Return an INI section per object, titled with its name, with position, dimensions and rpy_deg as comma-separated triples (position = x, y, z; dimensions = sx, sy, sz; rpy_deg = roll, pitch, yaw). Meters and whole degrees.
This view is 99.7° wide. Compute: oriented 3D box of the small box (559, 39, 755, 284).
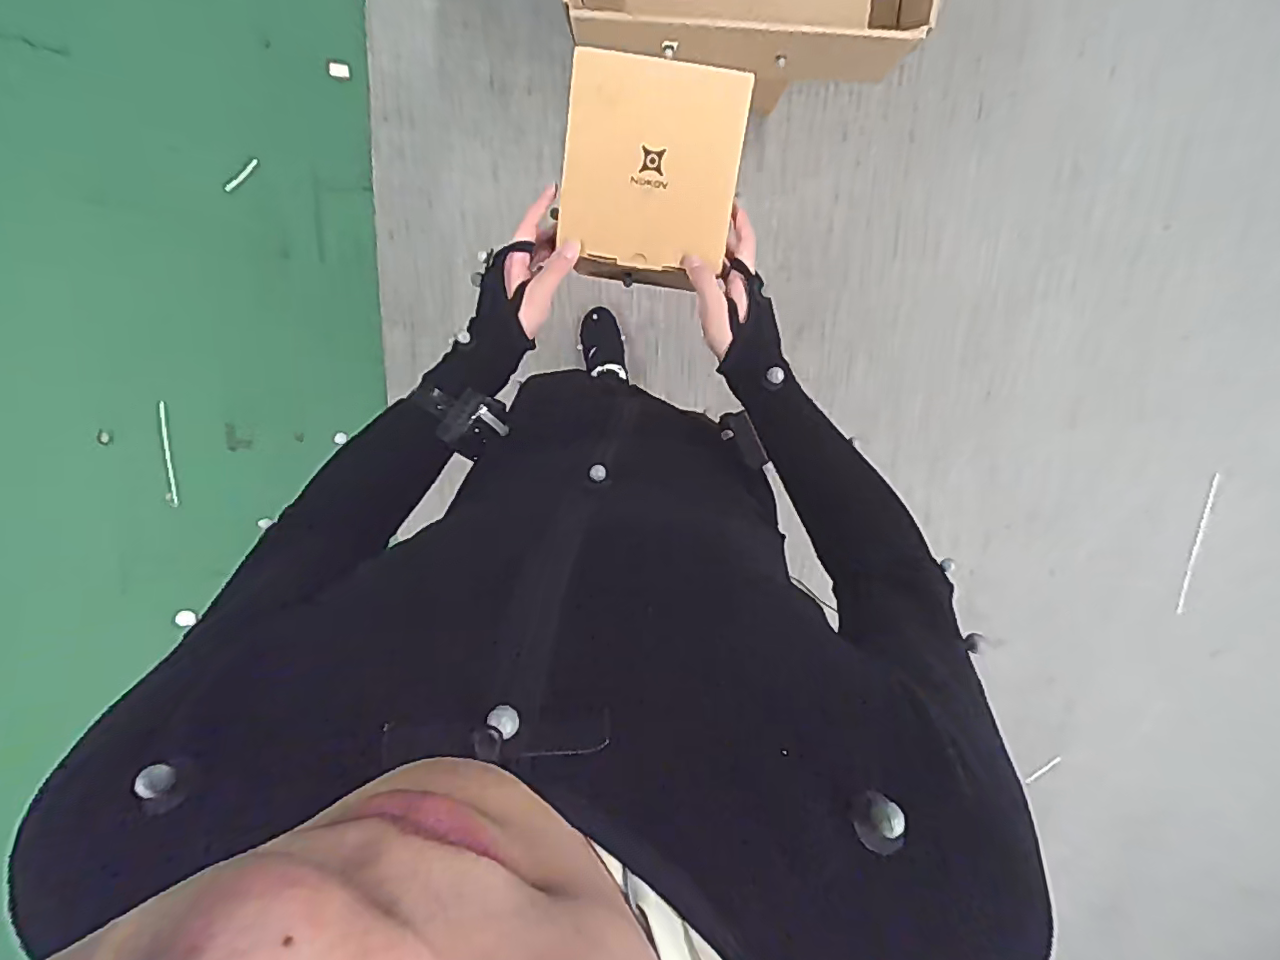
[small box]
position = 0.012, -0.319, 0.580
dimensions = 0.168, 0.176, 0.179
rpy_deg = 7, 106, -2
